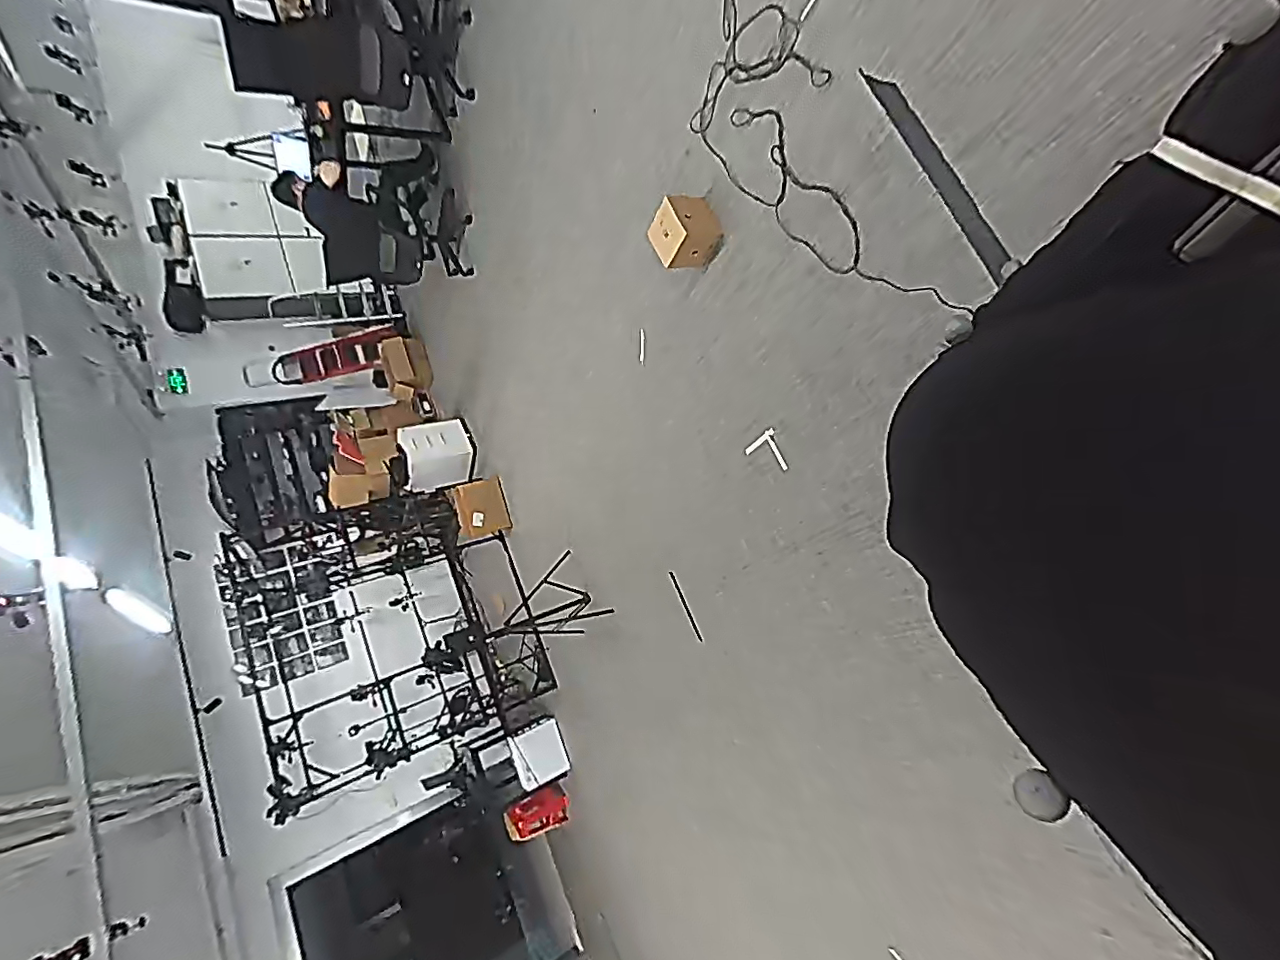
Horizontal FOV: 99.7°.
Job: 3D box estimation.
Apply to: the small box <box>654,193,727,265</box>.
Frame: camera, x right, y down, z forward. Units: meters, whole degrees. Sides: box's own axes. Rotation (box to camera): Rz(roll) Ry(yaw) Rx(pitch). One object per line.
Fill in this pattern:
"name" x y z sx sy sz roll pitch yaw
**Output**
"small box" 0.182 -0.896 1.931 0.168 0.176 0.179 -46 63 56
